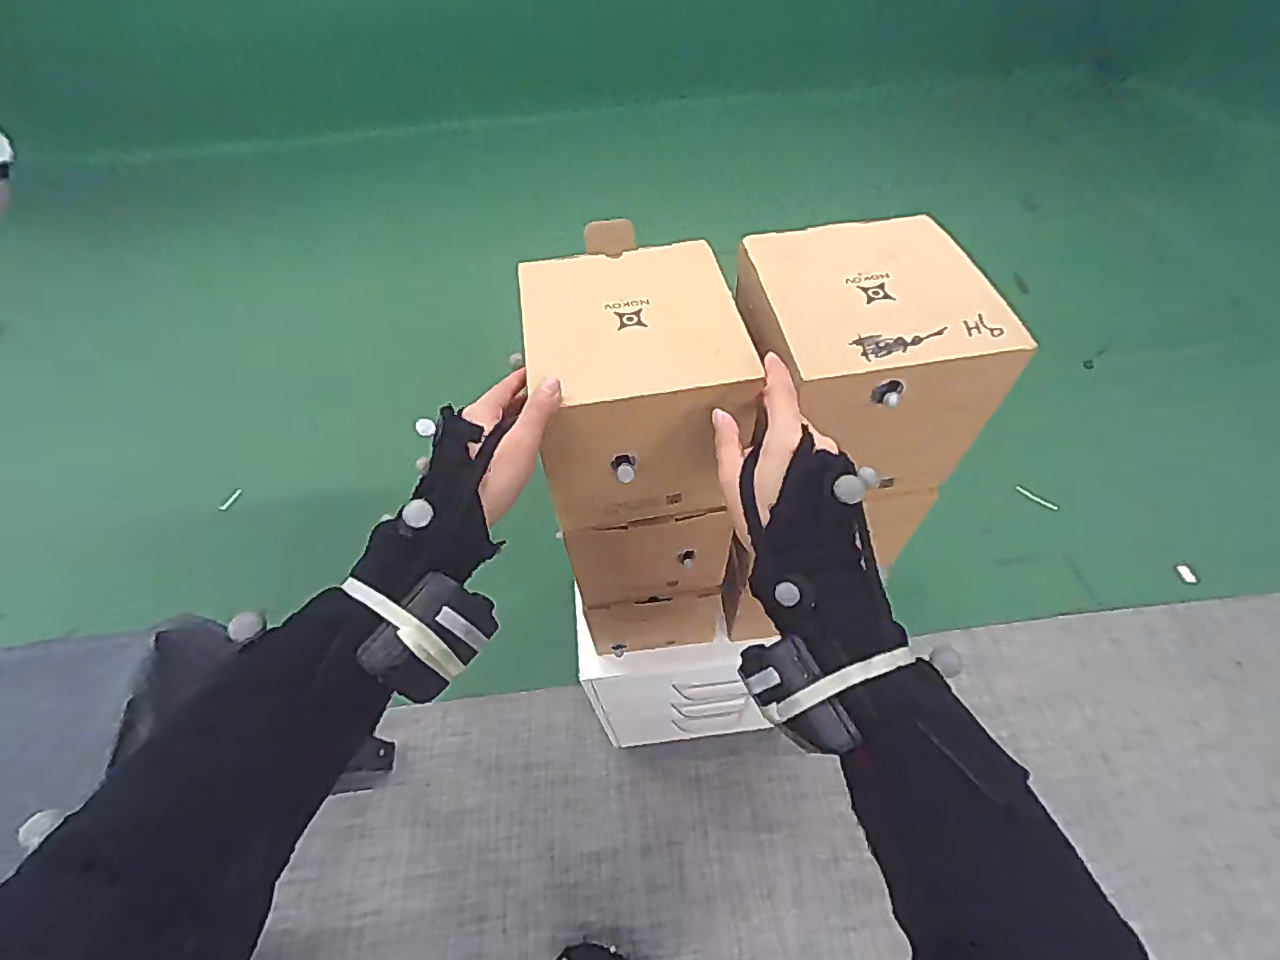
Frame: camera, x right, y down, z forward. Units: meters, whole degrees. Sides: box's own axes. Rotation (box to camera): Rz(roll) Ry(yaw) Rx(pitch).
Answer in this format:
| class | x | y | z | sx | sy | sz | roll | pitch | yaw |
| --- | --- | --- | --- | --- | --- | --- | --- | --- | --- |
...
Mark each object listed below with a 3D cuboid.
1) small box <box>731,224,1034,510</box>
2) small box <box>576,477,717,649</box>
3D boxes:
| class | x | y | z | sx | sy | sz | roll | pitch | yaw |
| --- | --- | --- | --- | --- | --- | --- | --- | --- | --- |
| small box | 0.183 | -0.096 | 0.479 | 0.168 | 0.176 | 0.179 | -7 | 54 | -2 |
| small box | 0.006 | 0.119 | 0.737 | 0.168 | 0.176 | 0.179 | -5 | 54 | -3 |
